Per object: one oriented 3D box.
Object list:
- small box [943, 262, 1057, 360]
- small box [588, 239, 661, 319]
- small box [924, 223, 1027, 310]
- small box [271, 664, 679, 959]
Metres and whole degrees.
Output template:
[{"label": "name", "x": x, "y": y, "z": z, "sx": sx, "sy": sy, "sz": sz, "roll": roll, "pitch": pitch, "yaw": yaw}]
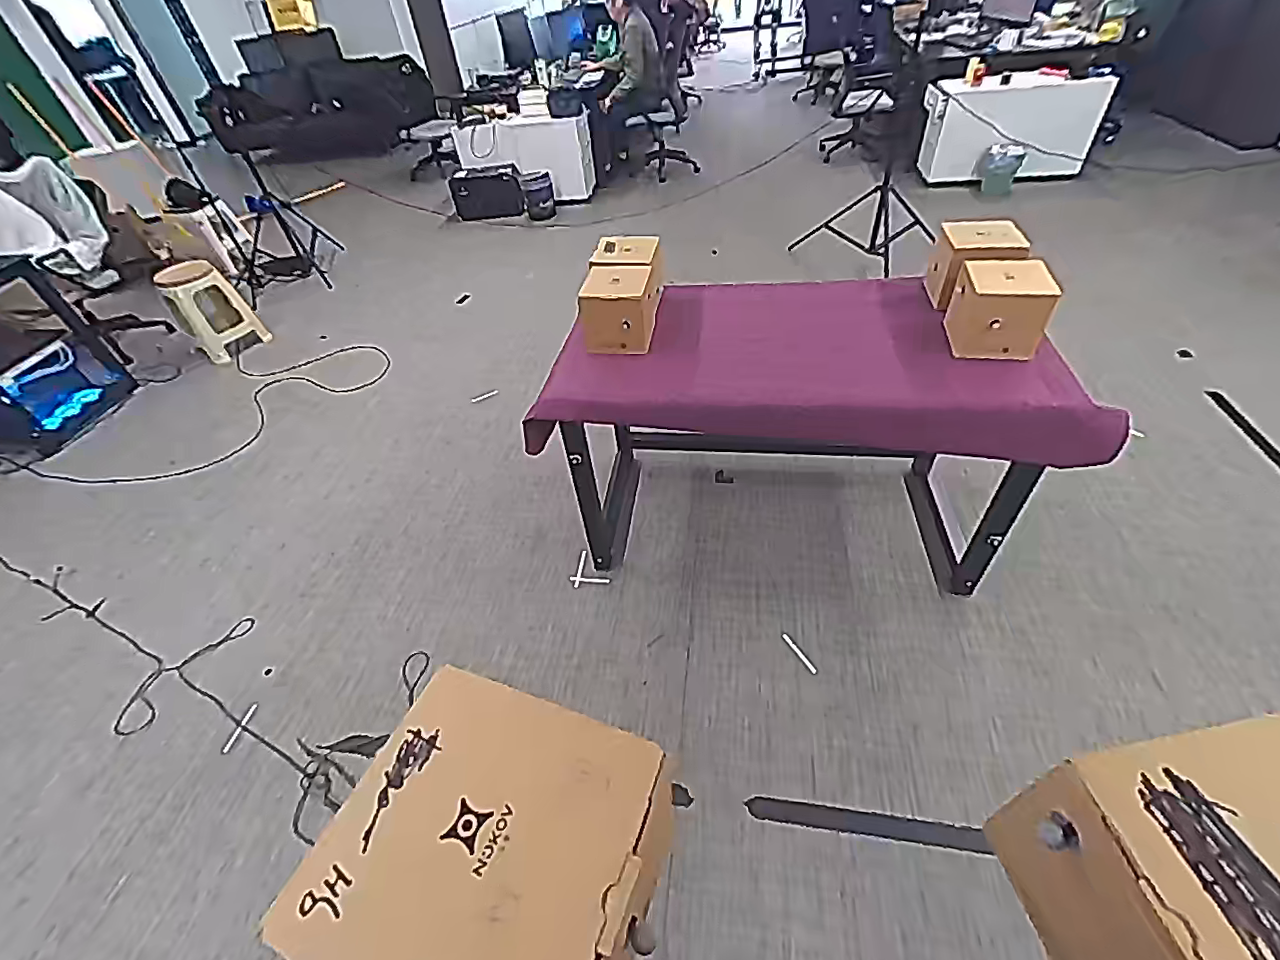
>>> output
[{"label": "small box", "x": 0.839, "y": -0.398, "z": 1.279, "sx": 0.168, "sy": 0.176, "sz": 0.179, "roll": 5, "pitch": 45, "yaw": 14}, {"label": "small box", "x": -0.039, "y": -0.584, "z": 1.573, "sx": 0.179, "sy": 0.176, "sz": 0.168, "roll": 5, "pitch": 48, "yaw": 10}, {"label": "small box", "x": 0.872, "y": -0.560, "z": 1.429, "sx": 0.179, "sy": 0.176, "sz": 0.168, "roll": 4, "pitch": 47, "yaw": 10}, {"label": "small box", "x": -0.082, "y": 0.261, "z": 0.365, "sx": 0.179, "sy": 0.176, "sz": 0.168, "roll": 14, "pitch": 46, "yaw": 17}]
